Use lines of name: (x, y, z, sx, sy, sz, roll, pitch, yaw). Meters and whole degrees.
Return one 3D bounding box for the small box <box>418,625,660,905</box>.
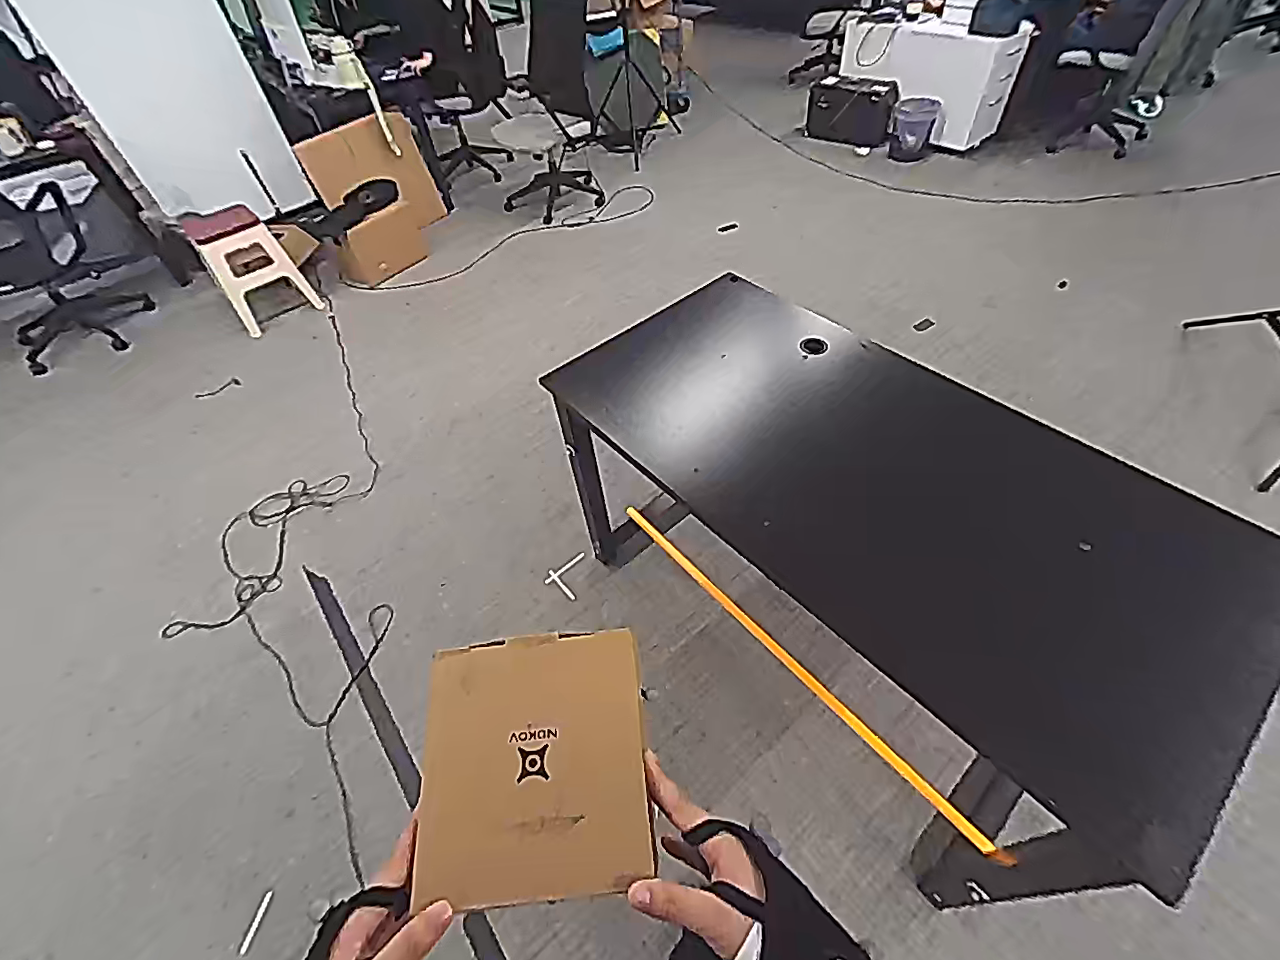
small box: (-0.072, 0.242, 0.473, 0.168, 0.176, 0.179, -6, 61, 0)
